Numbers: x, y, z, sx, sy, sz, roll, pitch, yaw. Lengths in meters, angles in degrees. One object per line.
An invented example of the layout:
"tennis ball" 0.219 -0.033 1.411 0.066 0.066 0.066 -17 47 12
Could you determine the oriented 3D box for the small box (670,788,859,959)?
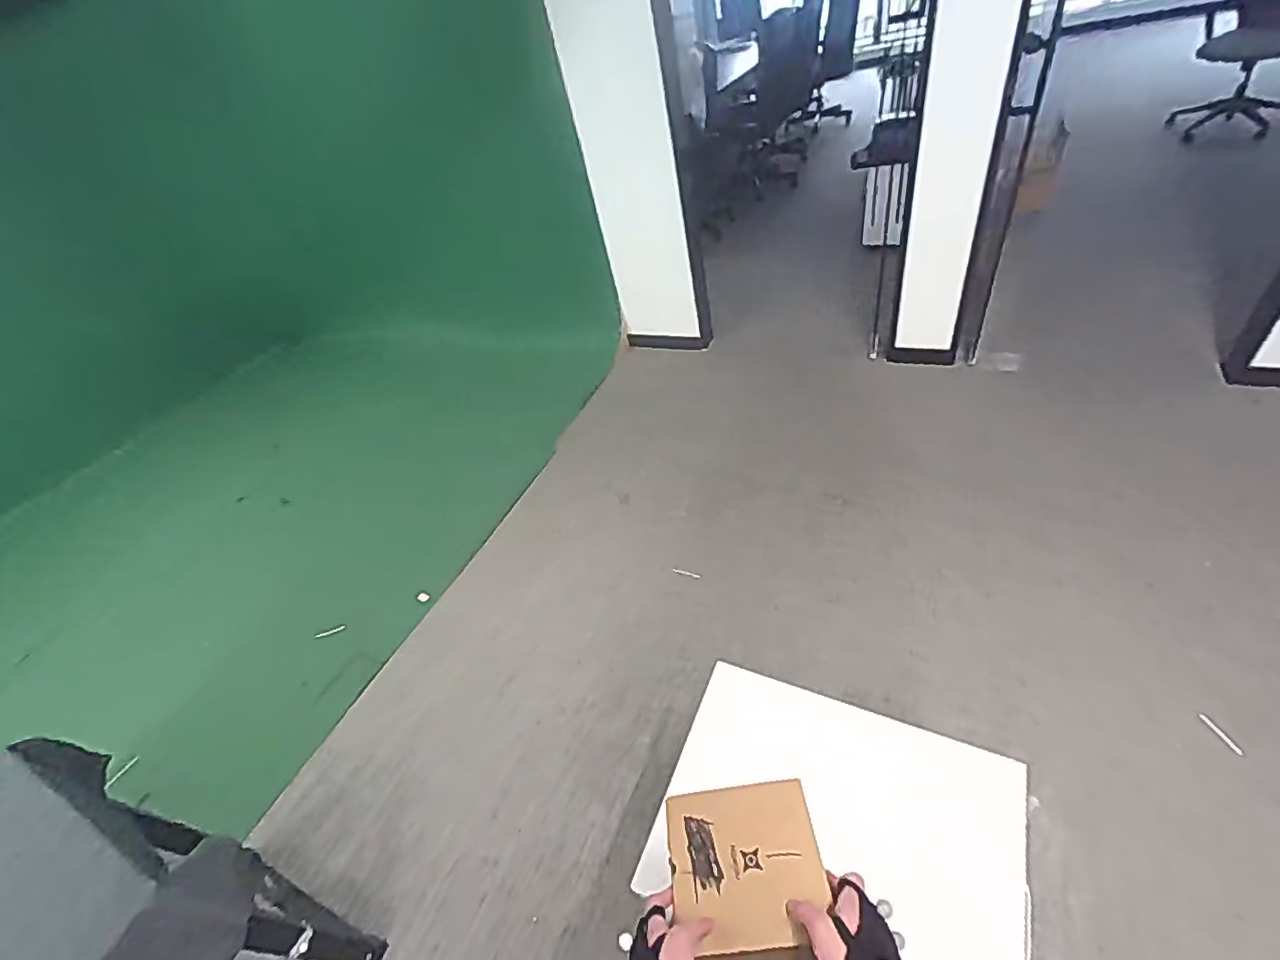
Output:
"small box" 0.142 0.500 0.632 0.179 0.176 0.168 -12 32 3
